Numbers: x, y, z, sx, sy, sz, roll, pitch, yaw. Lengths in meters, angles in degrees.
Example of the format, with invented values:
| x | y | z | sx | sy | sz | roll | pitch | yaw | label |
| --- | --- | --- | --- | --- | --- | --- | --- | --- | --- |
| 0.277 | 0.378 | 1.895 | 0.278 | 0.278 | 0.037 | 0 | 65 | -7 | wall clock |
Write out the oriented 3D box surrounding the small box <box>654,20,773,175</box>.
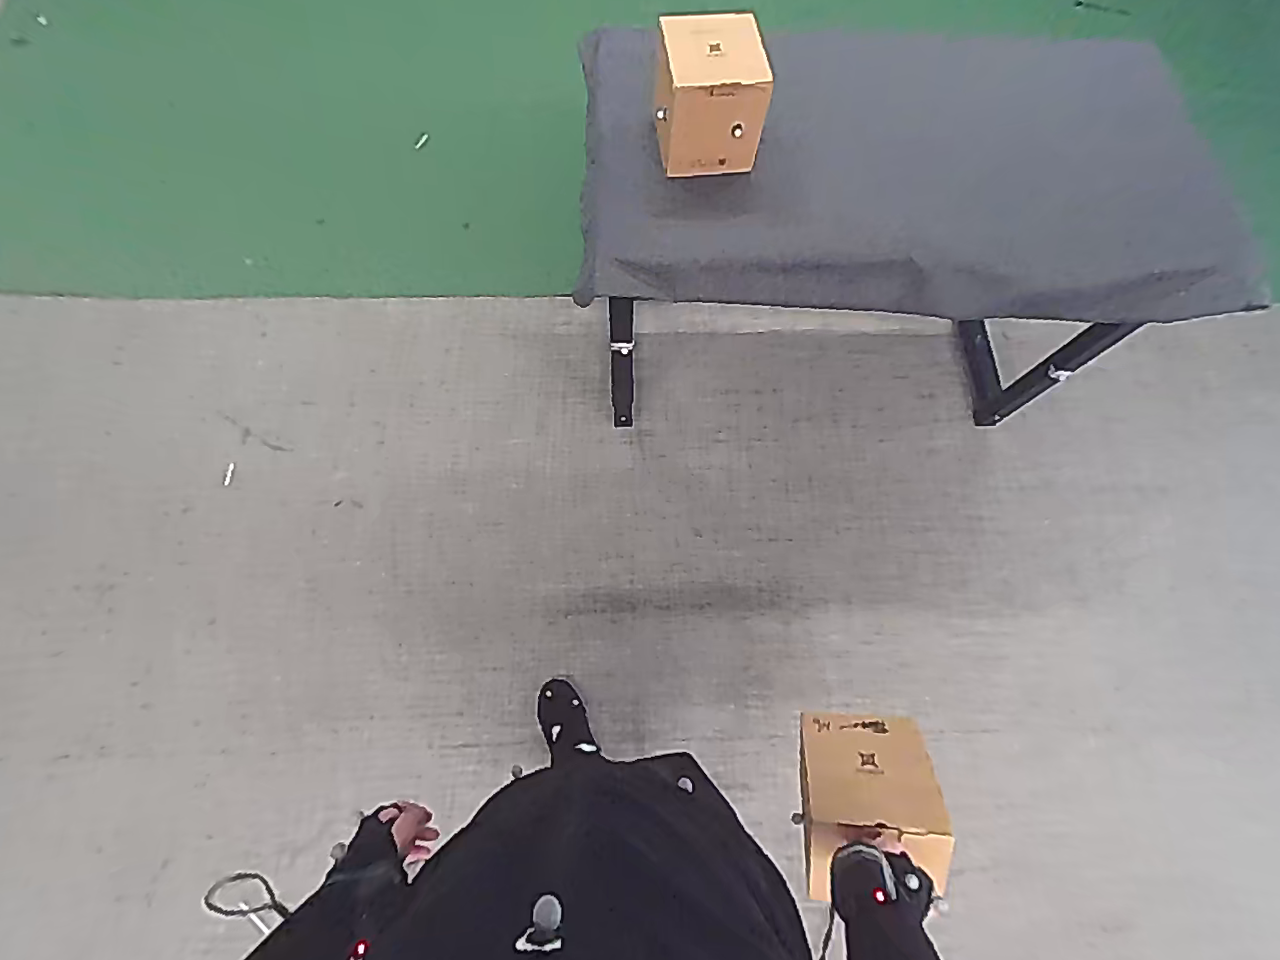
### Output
| x | y | z | sx | sy | sz | roll | pitch | yaw | label |
| --- | --- | --- | --- | --- | --- | --- | --- | --- | --- |
| 0.122 | -0.676 | 0.973 | 0.168 | 0.176 | 0.179 | -7 | 70 | -6 | small box |

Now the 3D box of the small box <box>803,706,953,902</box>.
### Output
| x | y | z | sx | sy | sz | roll | pitch | yaw | label |
| --- | --- | --- | --- | --- | --- | --- | --- | --- | --- |
| 0.322 | 0.453 | 0.766 | 0.168 | 0.176 | 0.179 | -1 | 27 | 13 | small box |
